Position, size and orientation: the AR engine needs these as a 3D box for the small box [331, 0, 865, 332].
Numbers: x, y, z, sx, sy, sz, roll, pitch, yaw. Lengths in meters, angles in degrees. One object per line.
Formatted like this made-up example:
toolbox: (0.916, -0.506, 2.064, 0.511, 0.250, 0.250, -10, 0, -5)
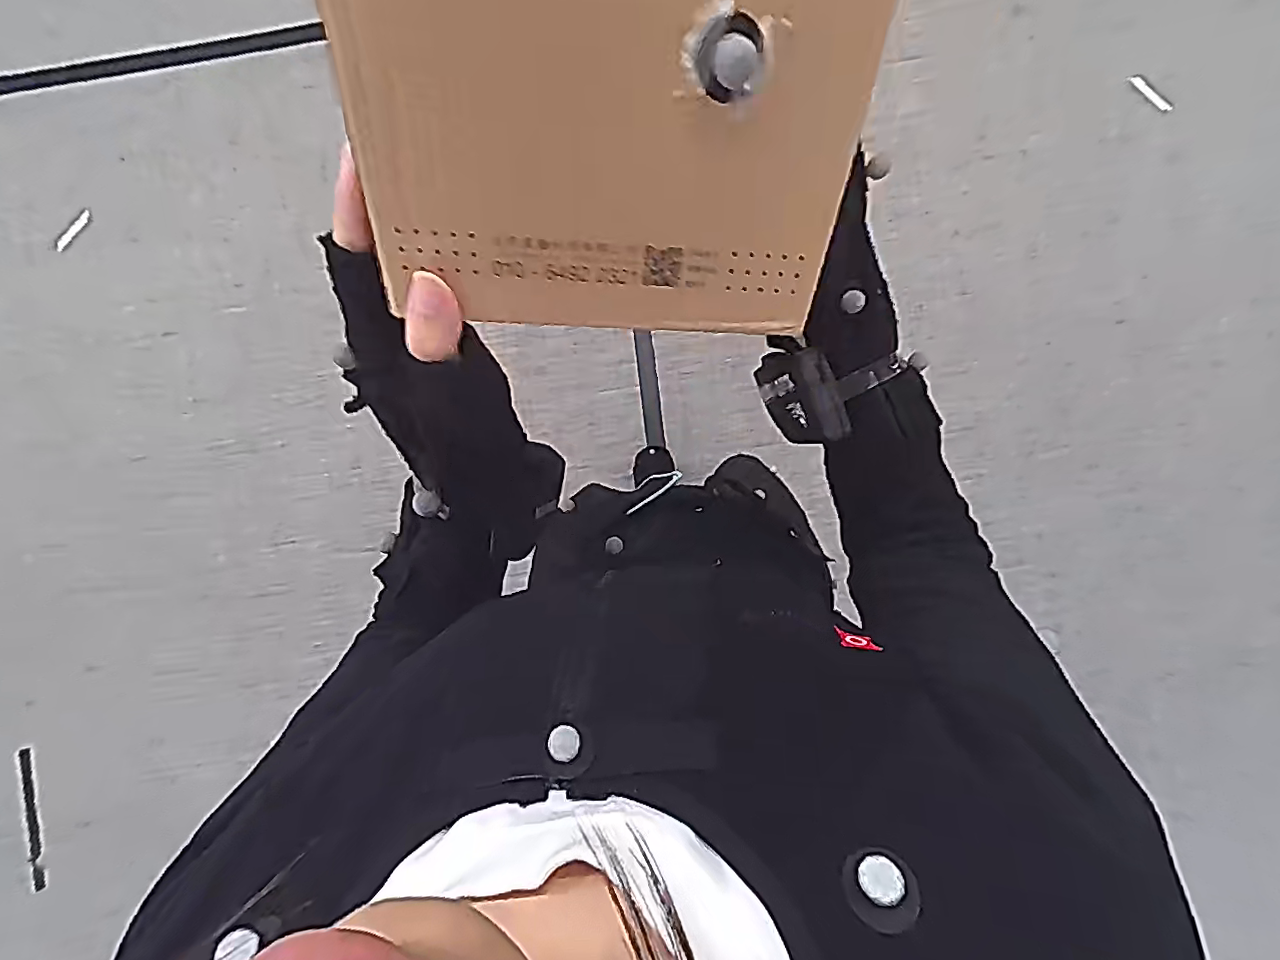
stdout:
small box: (-0.012, -0.177, 0.234, 0.168, 0.179, 0.176, 3, 131, -2)
